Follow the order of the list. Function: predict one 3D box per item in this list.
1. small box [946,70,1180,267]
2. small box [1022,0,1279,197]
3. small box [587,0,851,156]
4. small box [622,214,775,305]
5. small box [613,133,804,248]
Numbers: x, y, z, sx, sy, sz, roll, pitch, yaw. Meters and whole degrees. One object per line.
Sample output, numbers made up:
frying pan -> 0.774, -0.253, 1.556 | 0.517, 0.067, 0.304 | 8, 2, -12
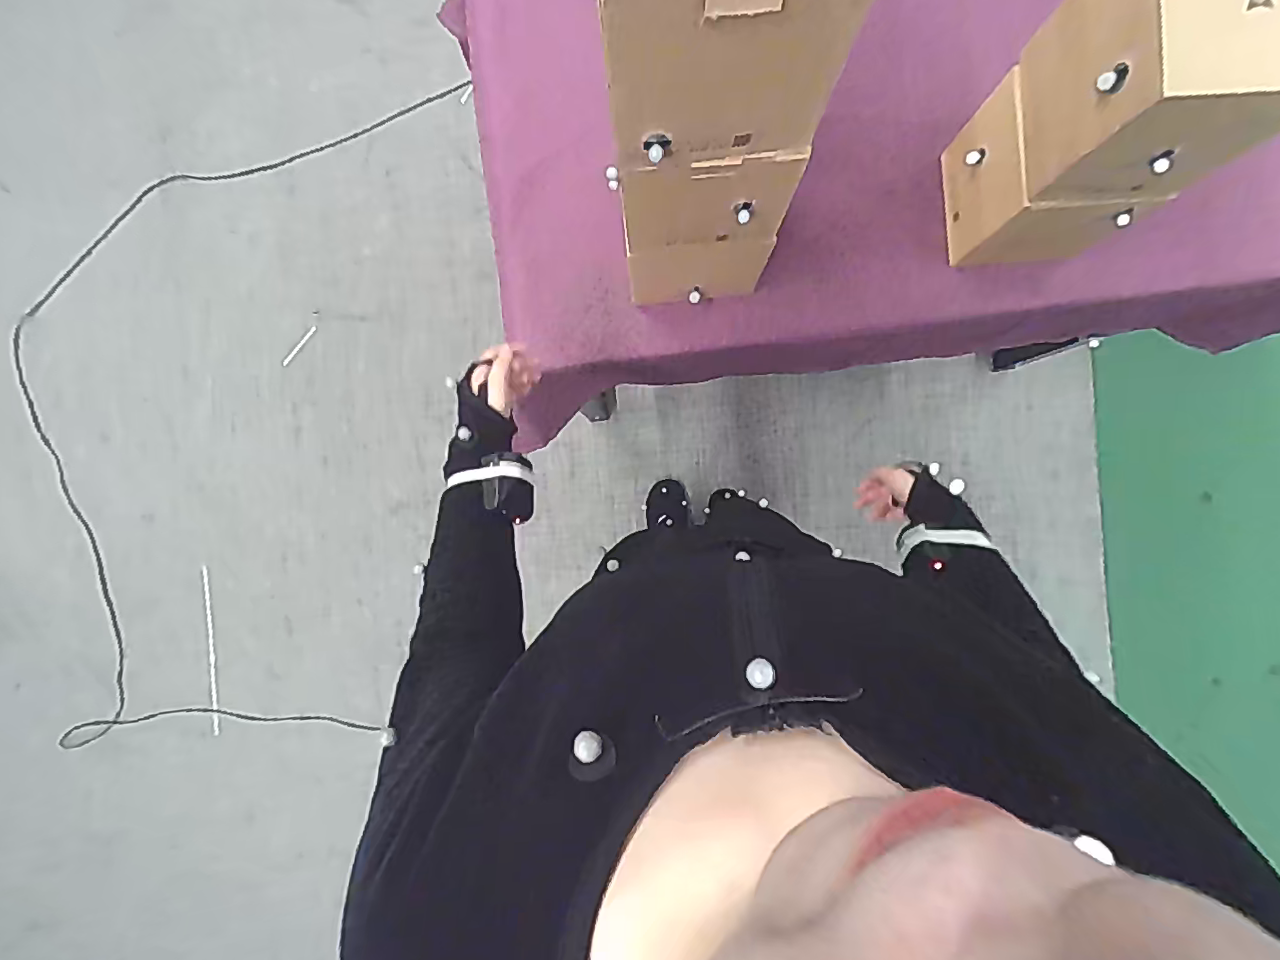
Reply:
small box -> 0.515, -0.387, 0.689 | 0.179, 0.176, 0.168 | -3, 88, 2
small box -> 0.508, -0.397, 0.525 | 0.168, 0.176, 0.179 | -1, 88, 2
small box -> 0.046, -0.359, 0.380 | 0.168, 0.176, 0.179 | -6, 88, 2
small box -> 0.066, -0.341, 0.707 | 0.179, 0.176, 0.168 | -4, 88, 2
small box -> 0.060, -0.350, 0.544 | 0.168, 0.176, 0.179 | -3, 88, 2
